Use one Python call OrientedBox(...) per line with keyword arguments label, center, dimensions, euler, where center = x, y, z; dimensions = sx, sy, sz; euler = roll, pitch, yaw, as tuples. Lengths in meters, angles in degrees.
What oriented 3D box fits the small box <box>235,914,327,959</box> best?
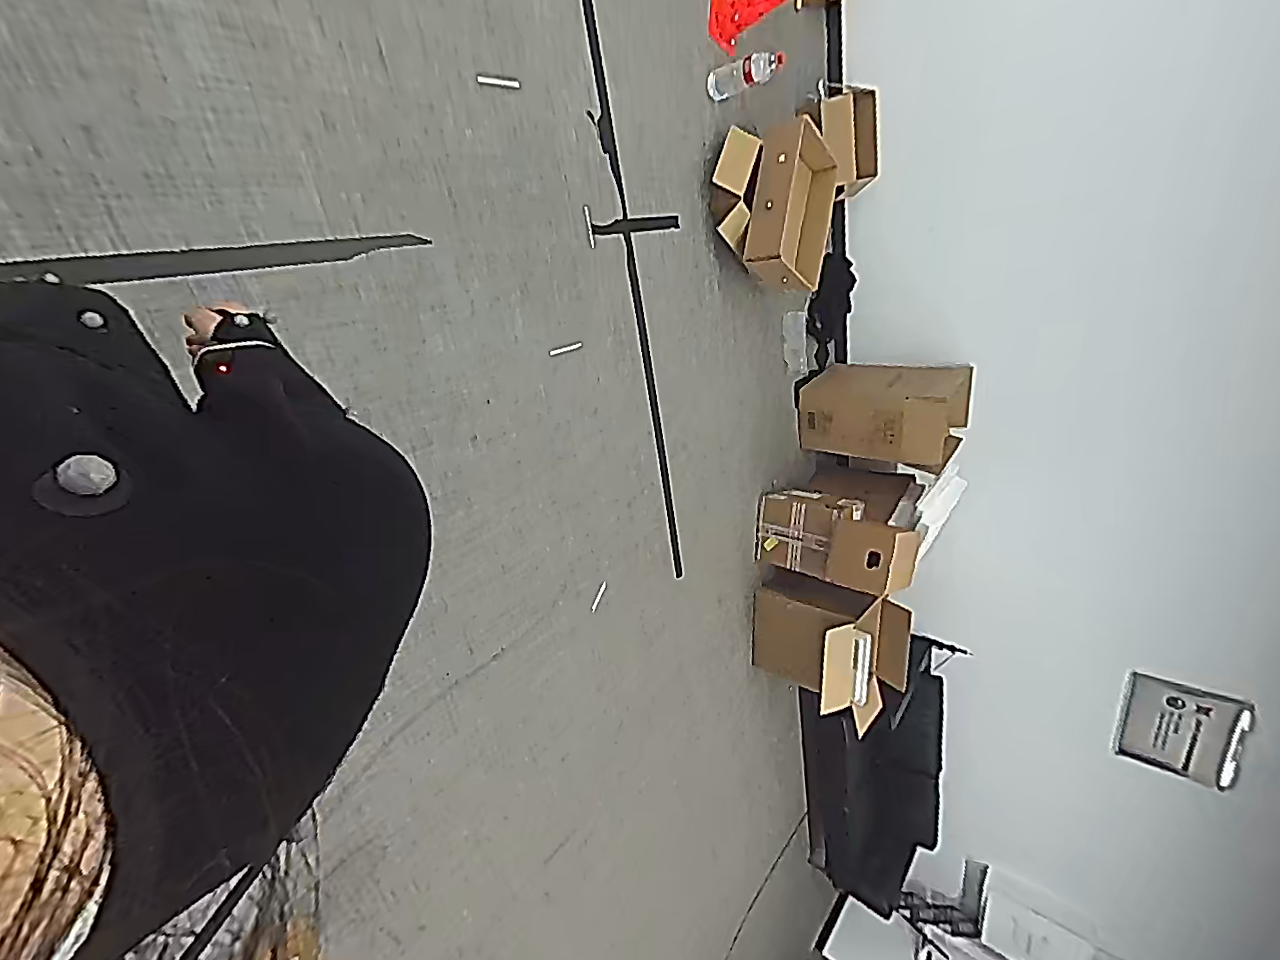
OrientedBox(label="small box", center=(-0.939, 1.305, 1.424), dimensions=(0.168, 0.176, 0.179), euler=(-33, 122, -40))
